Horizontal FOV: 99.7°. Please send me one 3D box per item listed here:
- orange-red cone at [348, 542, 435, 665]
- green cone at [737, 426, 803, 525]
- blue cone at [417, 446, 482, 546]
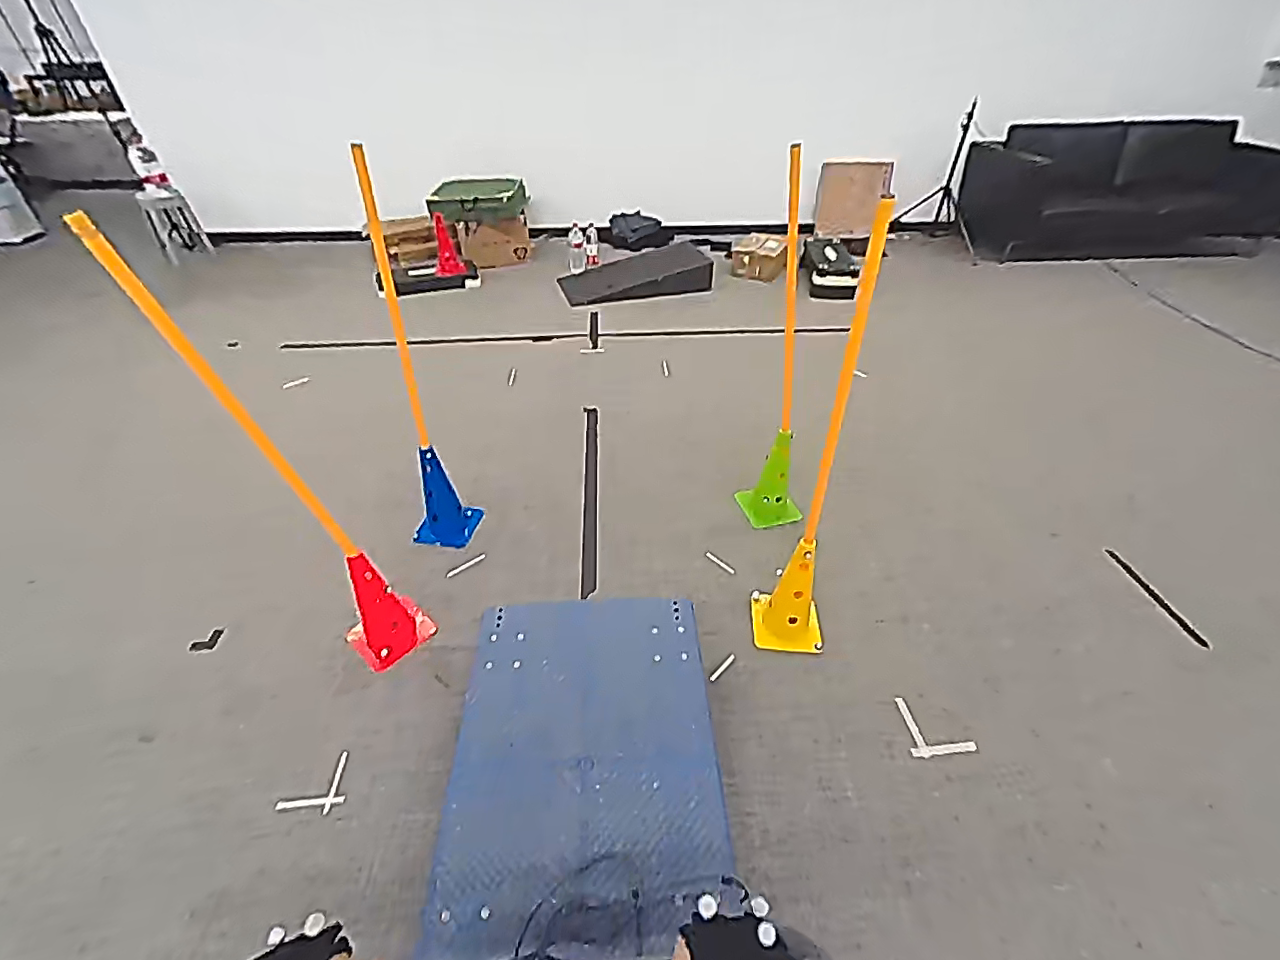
[{"bbox_3d":[-0.735,0.308,1.501,0.198,0.360,0.199,31,47,30],"label":"orange-red cone"},{"bbox_3d":[0.493,-0.040,1.935,0.200,0.368,0.202,-11,43,-13],"label":"green cone"},{"bbox_3d":[-0.683,0.036,1.847,0.193,0.380,0.192,8,41,8],"label":"blue cone"}]
